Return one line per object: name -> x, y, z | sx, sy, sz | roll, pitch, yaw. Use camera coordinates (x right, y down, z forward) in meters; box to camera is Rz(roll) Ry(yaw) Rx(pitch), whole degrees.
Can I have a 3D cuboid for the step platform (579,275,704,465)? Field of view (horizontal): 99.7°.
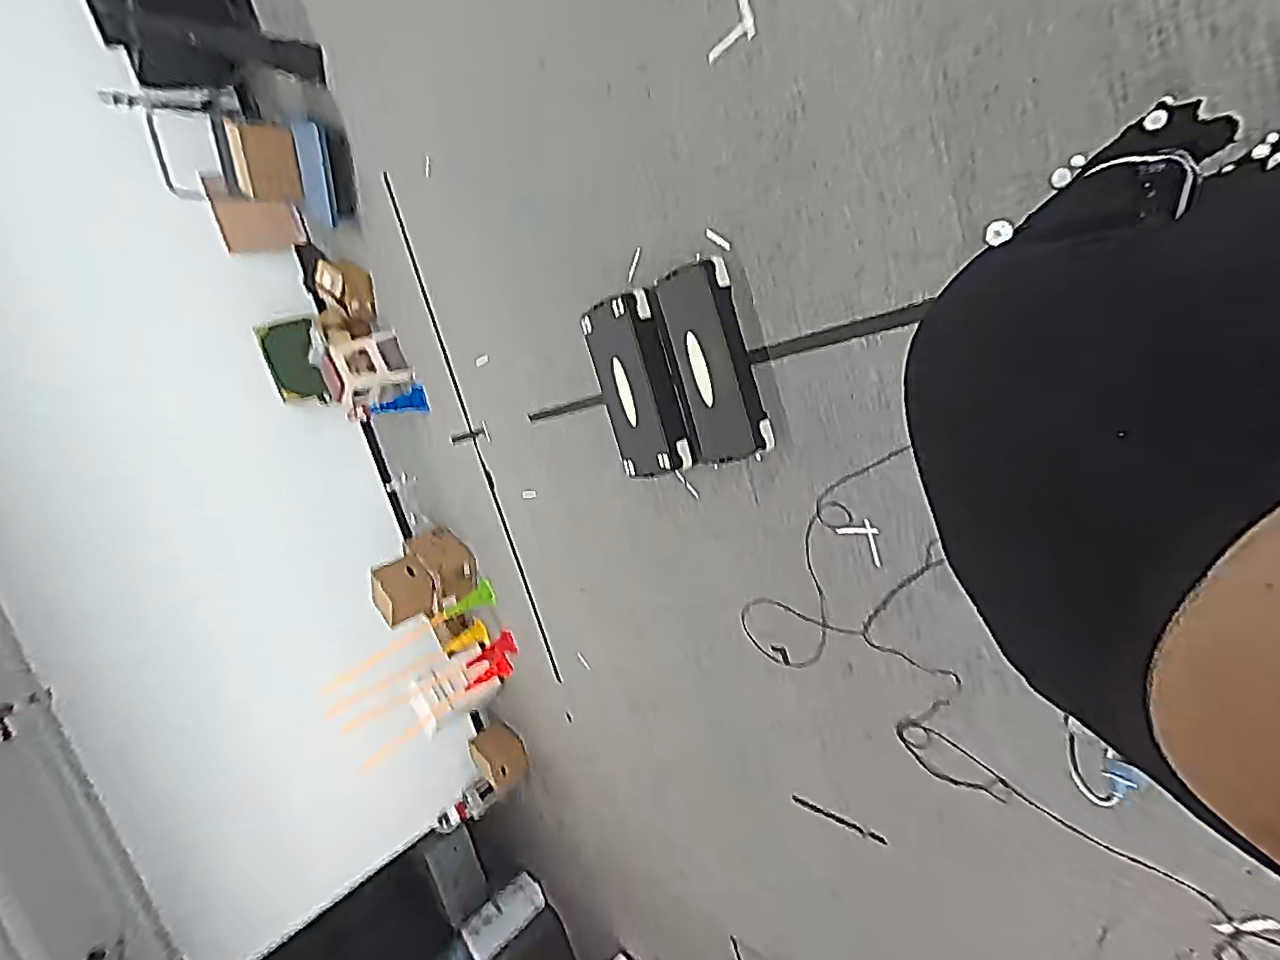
step platform -> 0.001, -0.396, 2.033 | 0.286, 0.204, 0.684 | -8, 101, 50
